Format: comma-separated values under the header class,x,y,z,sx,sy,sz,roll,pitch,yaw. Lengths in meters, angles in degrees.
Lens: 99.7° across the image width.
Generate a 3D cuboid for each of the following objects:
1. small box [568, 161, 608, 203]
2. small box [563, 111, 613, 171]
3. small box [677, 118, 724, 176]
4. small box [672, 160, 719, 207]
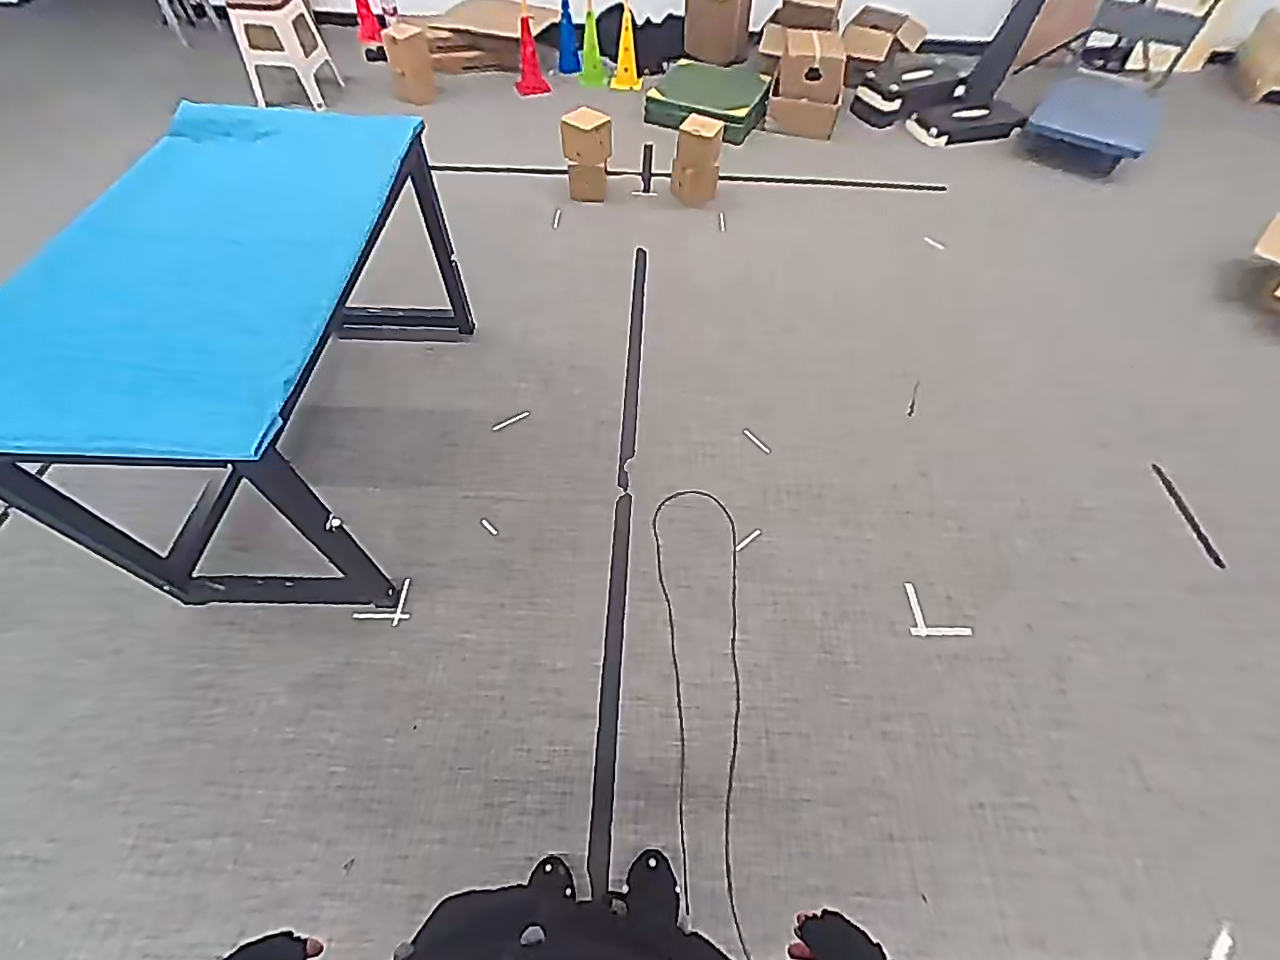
class,x,y,z,sx,sy,sz,roll,pitch,yaw
small box,-0.253,-1.503,2.688,0.179,0.176,0.168,4,55,1
small box,-0.246,-1.607,2.557,0.179,0.176,0.168,34,60,20
small box,0.284,-1.579,2.568,0.168,0.176,0.179,23,58,11
small box,0.273,-1.498,2.709,0.179,0.176,0.168,-23,62,-17
